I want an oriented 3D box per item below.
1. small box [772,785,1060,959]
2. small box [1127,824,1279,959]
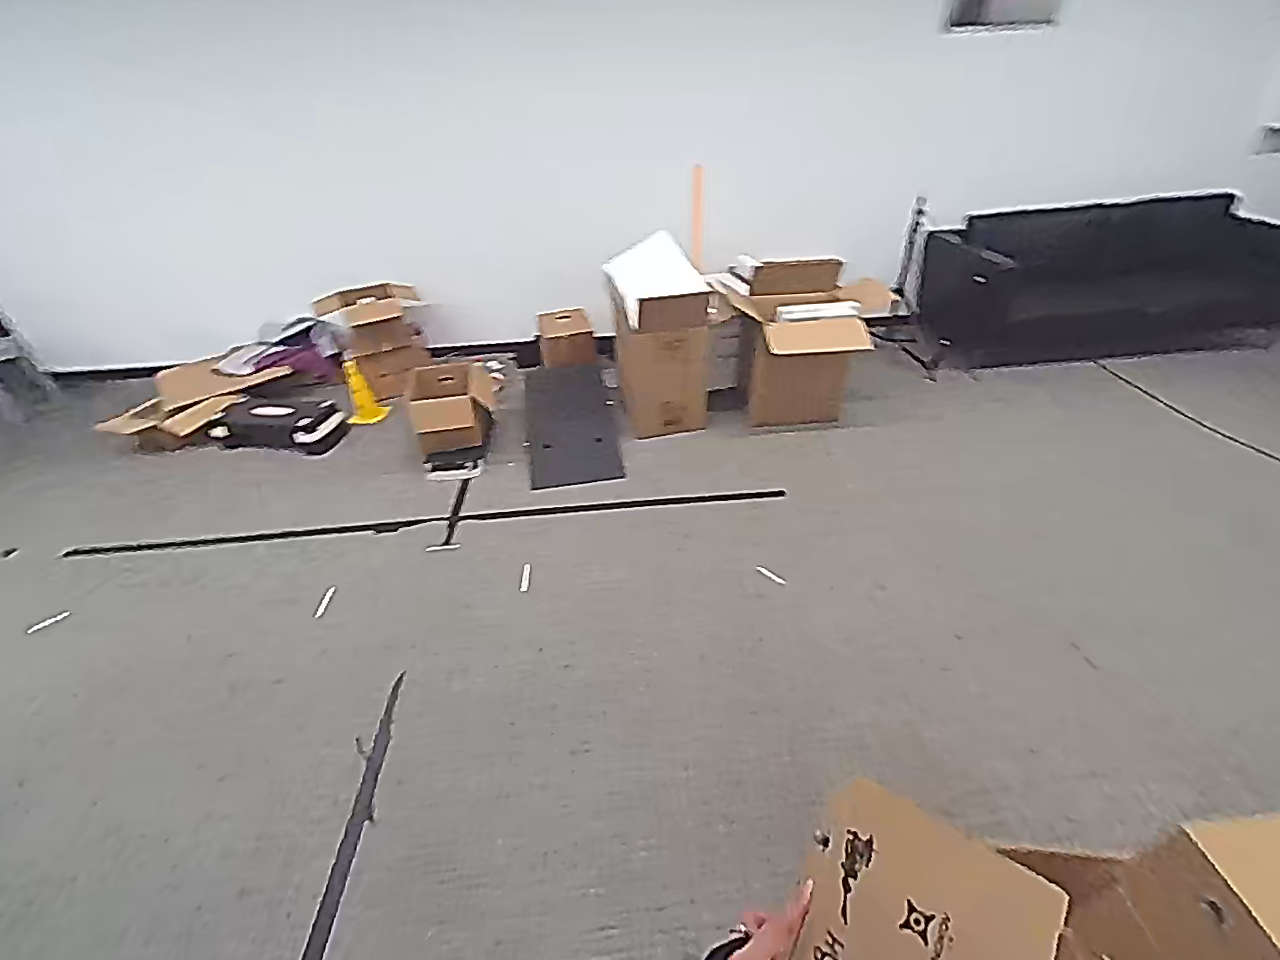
[{"bbox_3d":[0.237,0.416,0.502,0.179,0.176,0.168,23,63,23],"label":"small box"},{"bbox_3d":[0.754,0.542,0.644,0.168,0.176,0.179,-3,37,-2],"label":"small box"}]
